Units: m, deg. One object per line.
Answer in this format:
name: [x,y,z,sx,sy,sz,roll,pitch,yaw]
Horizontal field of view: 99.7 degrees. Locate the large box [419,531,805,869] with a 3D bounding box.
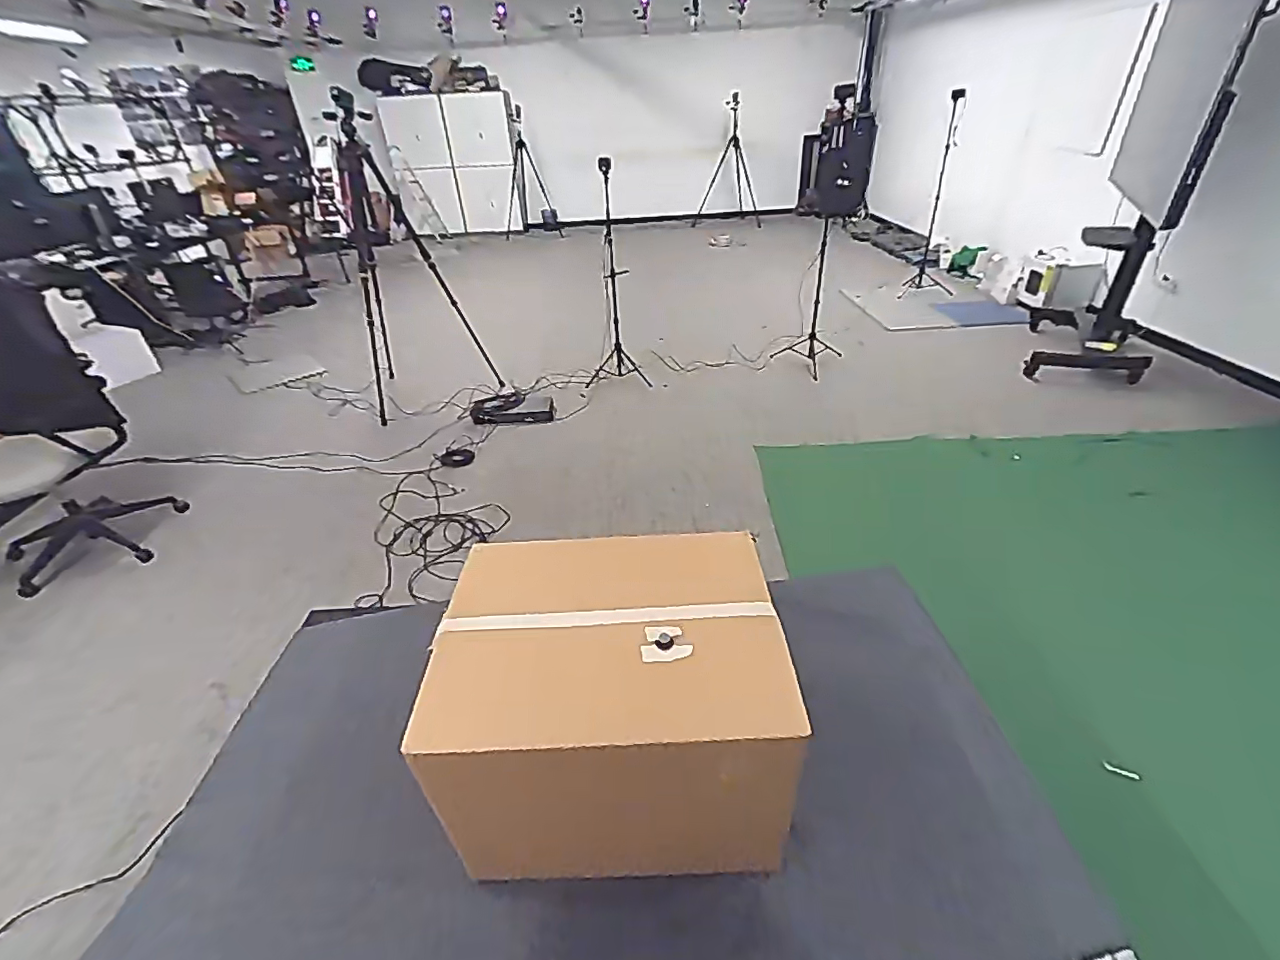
large box: [-0.029,0.294,0.750,0.408,0.320,0.320,-3,35,0]
